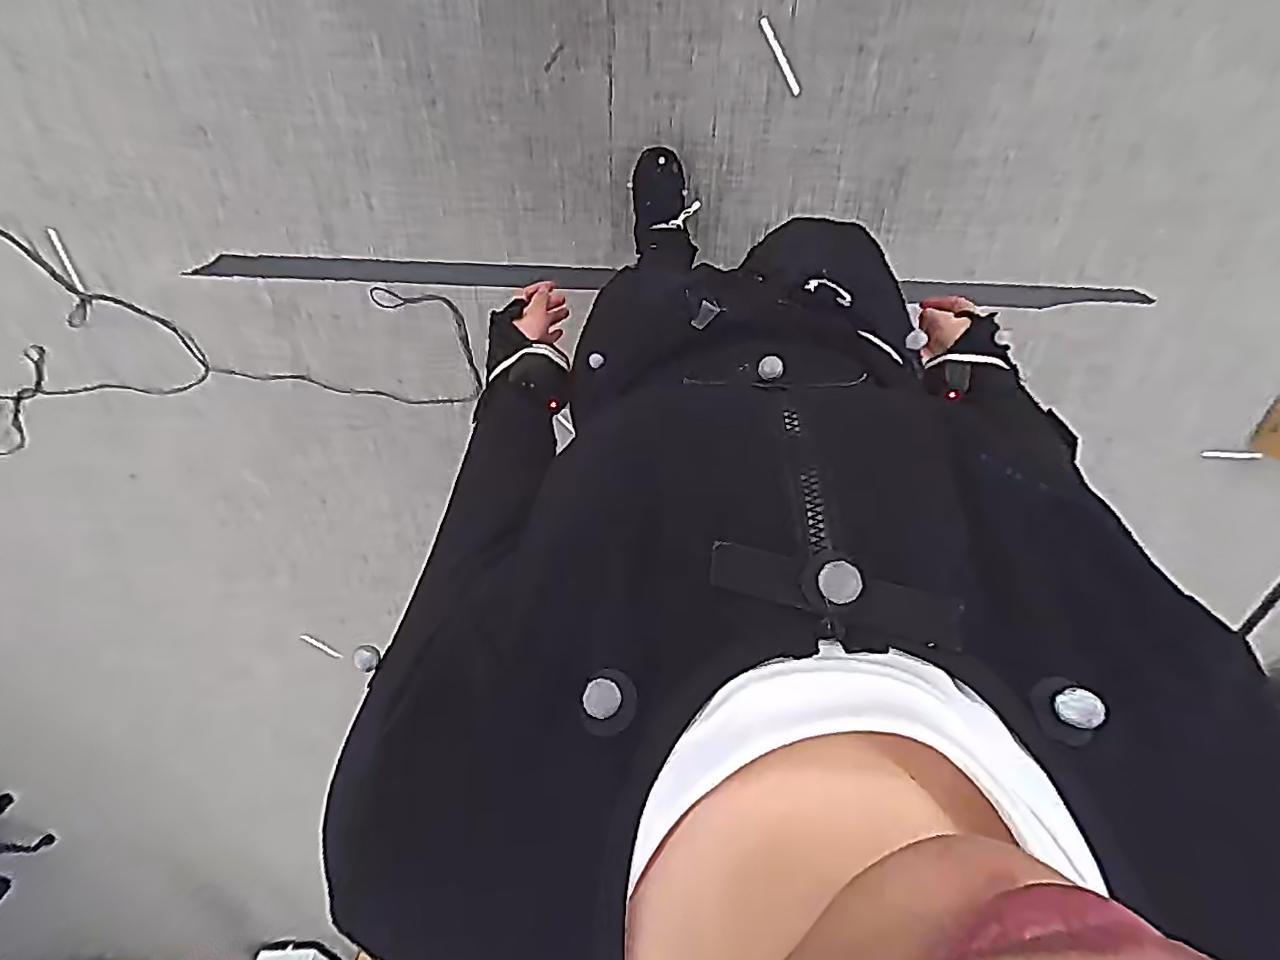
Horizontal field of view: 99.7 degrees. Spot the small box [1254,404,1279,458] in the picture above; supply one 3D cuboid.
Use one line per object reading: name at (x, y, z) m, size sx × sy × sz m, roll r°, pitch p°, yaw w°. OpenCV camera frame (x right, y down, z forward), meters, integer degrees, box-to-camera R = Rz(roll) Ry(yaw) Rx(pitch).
small box at (1.679, -0.116, 1.298) m, size 0.179 × 0.176 × 0.168 m, roll 2°, pitch 123°, yaw 1°
